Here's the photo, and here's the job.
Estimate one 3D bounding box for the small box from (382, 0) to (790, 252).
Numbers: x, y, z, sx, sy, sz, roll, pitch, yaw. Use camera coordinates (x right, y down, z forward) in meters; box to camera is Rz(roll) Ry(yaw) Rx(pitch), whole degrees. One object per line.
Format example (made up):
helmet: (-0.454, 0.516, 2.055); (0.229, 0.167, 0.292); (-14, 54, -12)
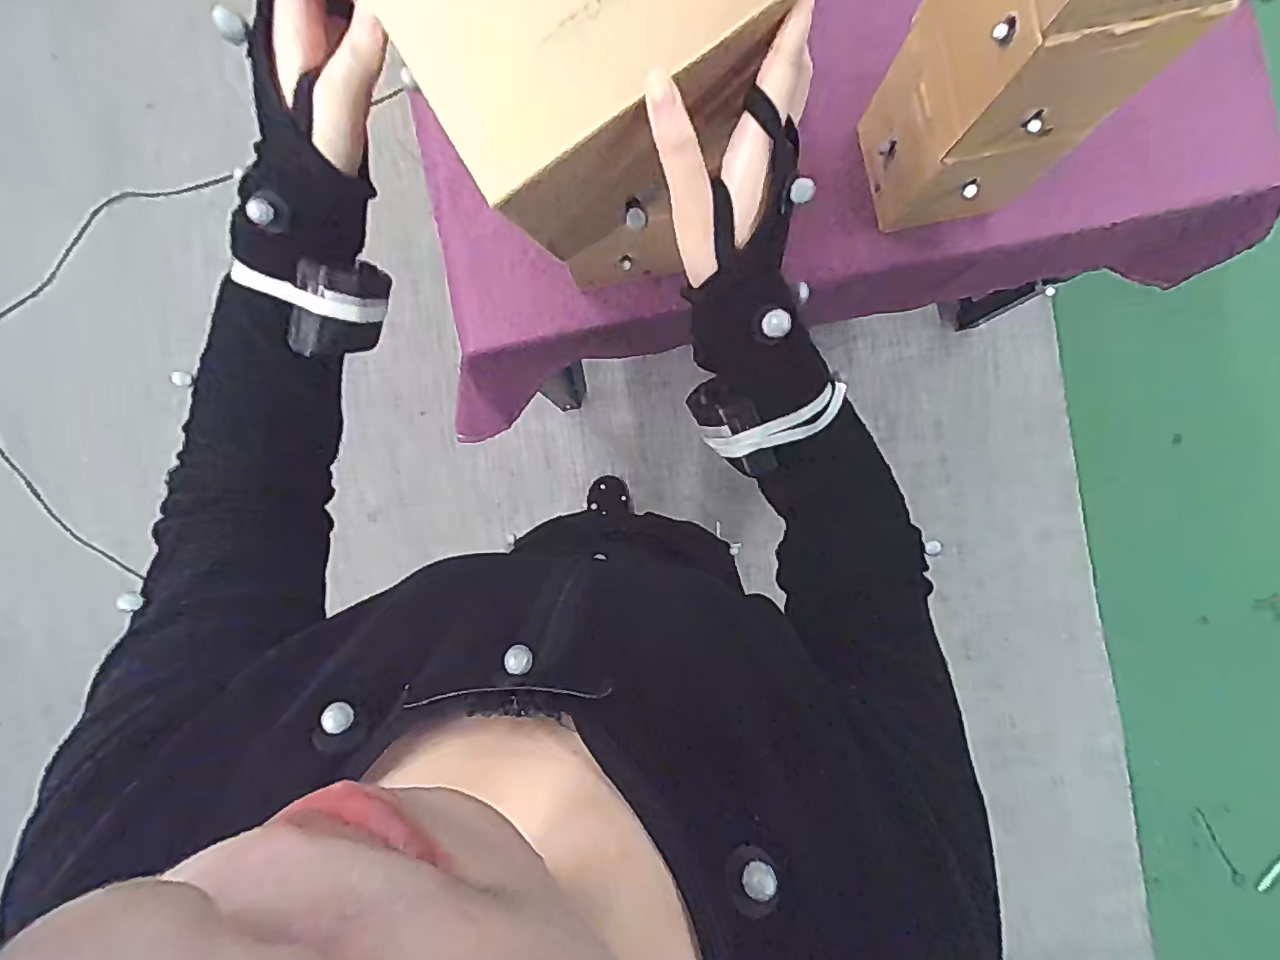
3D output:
small box: (-0.037, -0.265, 0.314); (0.168, 0.176, 0.179); (-28, 98, 10)

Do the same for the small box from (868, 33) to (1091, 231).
small box: (0.413, -0.448, 0.696); (0.179, 0.176, 0.168); (-12, 89, 2)

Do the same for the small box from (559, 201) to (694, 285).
small box: (-0.028, -0.373, 0.707); (0.168, 0.176, 0.179); (-11, 88, 1)

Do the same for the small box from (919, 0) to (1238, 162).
small box: (0.404, -0.458, 0.533); (0.168, 0.176, 0.179); (-10, 89, 1)
